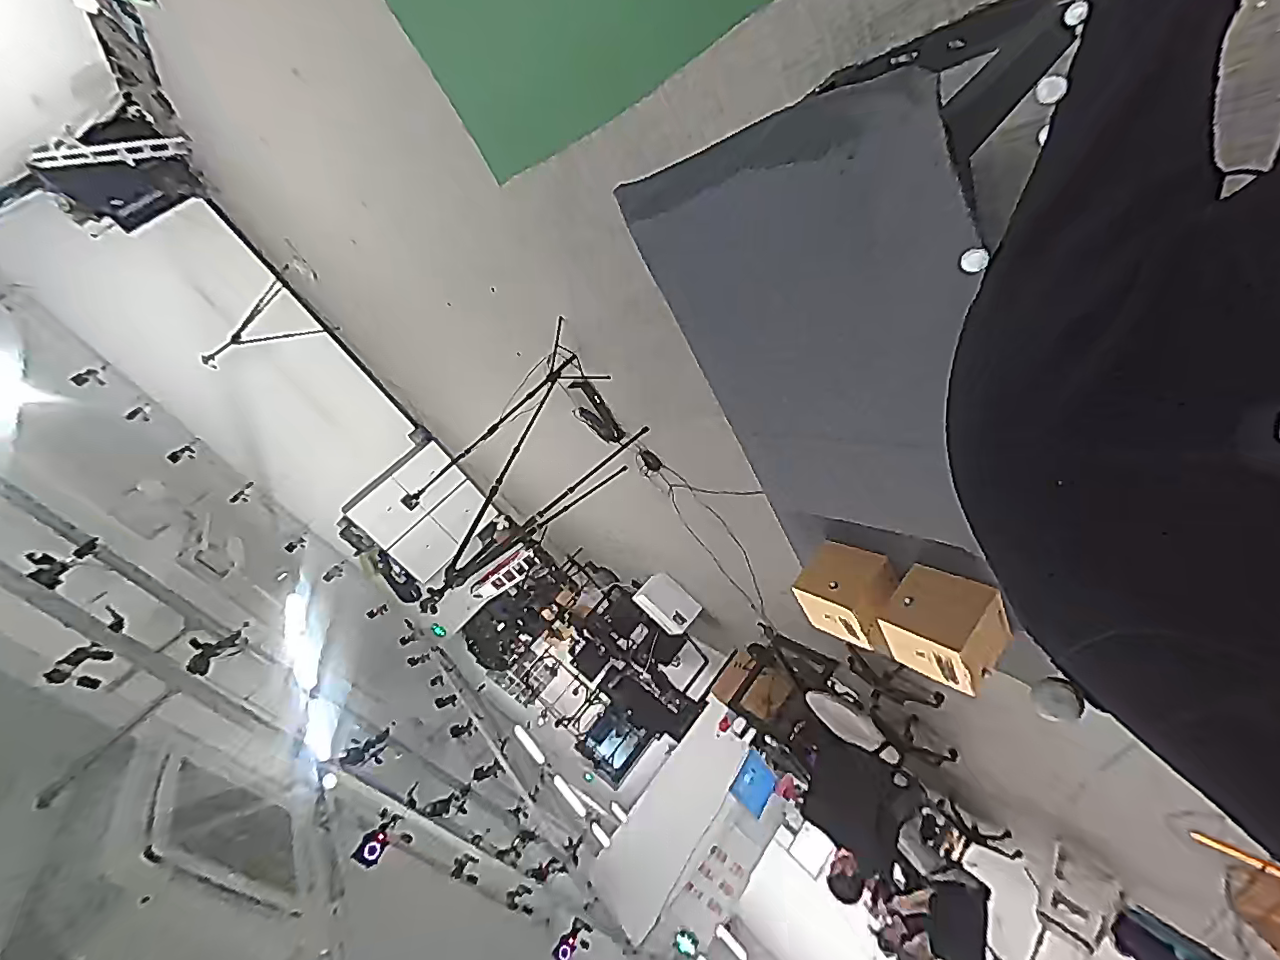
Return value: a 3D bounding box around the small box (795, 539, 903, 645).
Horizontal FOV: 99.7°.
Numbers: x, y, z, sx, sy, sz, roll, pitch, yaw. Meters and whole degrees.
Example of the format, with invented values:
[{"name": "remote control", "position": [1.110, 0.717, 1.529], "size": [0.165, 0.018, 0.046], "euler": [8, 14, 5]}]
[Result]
[{"name": "small box", "position": [0.526, 0.270, 1.343], "size": [0.179, 0.176, 0.168], "euler": [15, 145, 54]}]
